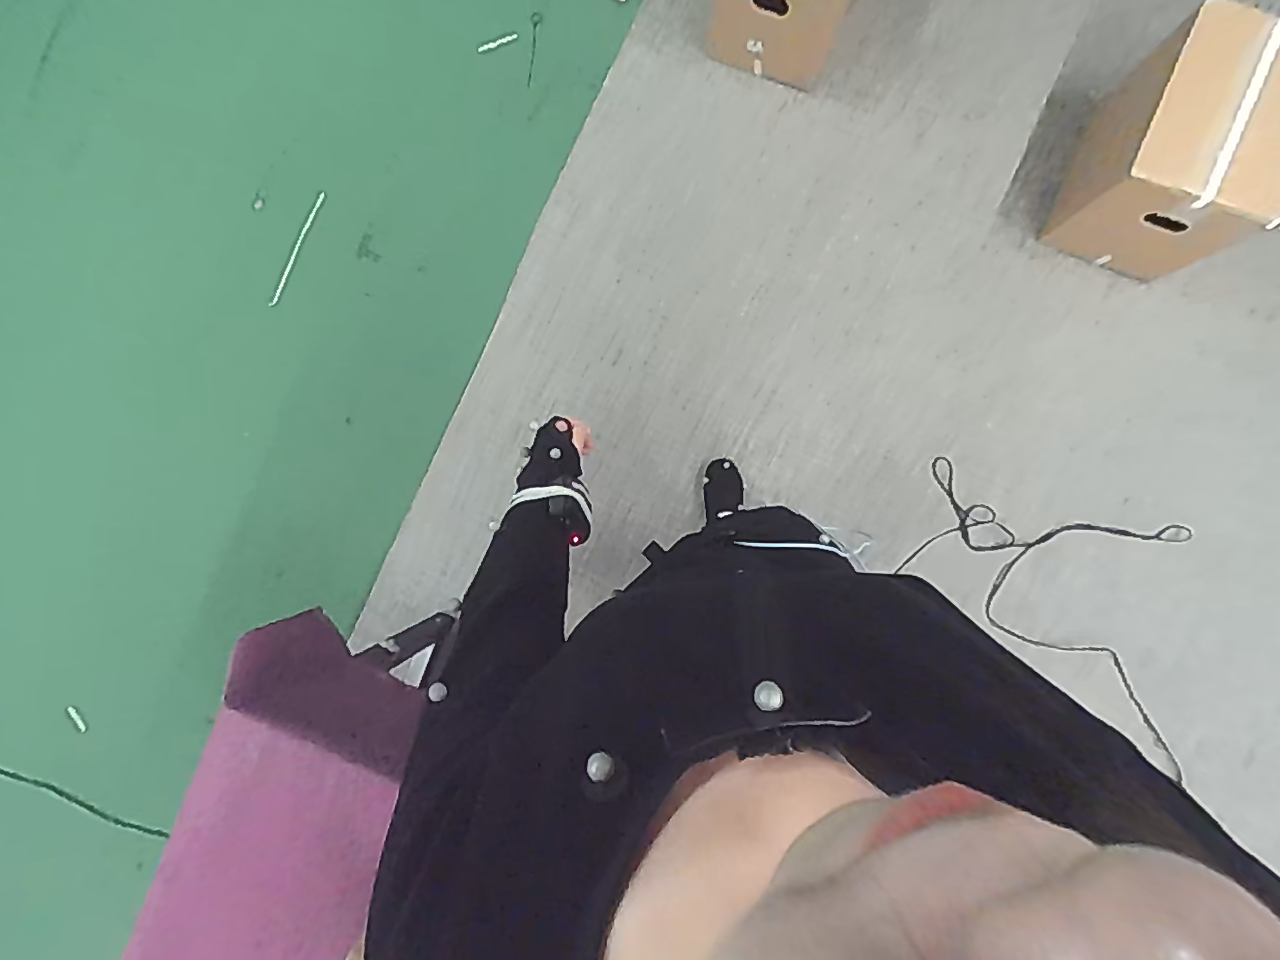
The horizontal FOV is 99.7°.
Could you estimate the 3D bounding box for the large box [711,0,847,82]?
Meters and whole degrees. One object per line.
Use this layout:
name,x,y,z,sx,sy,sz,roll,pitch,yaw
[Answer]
large box,0.391,-1.324,1.346,0.320,0.320,0.408,24,90,5
